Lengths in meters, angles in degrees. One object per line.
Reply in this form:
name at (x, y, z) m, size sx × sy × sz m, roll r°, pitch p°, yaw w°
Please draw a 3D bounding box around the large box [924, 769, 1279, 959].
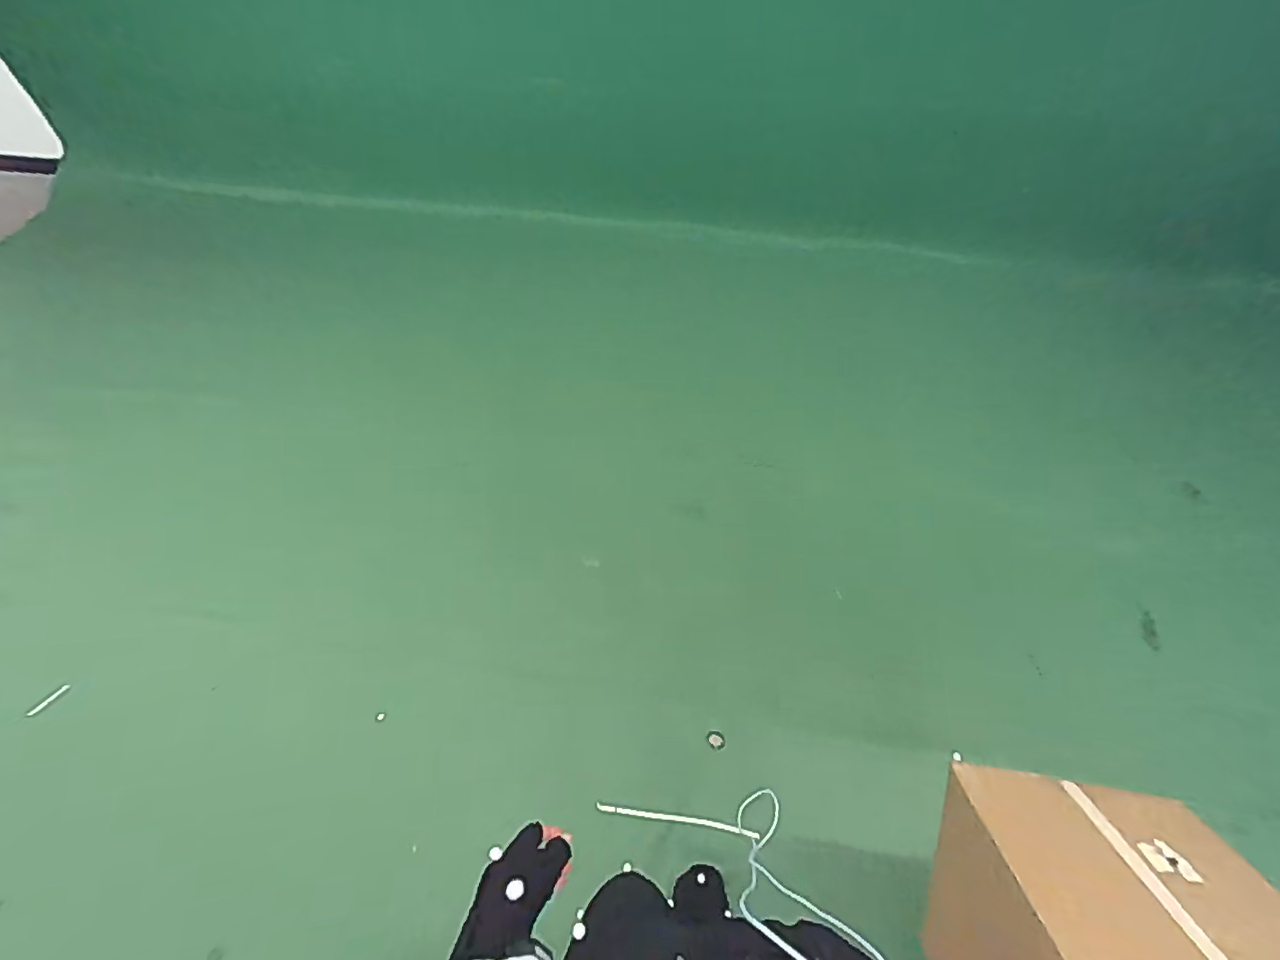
large box at (0.584, 0.636, 0.645) m, size 0.320 × 0.408 × 0.320 m, roll 6°, pitch 100°, yaw 9°
